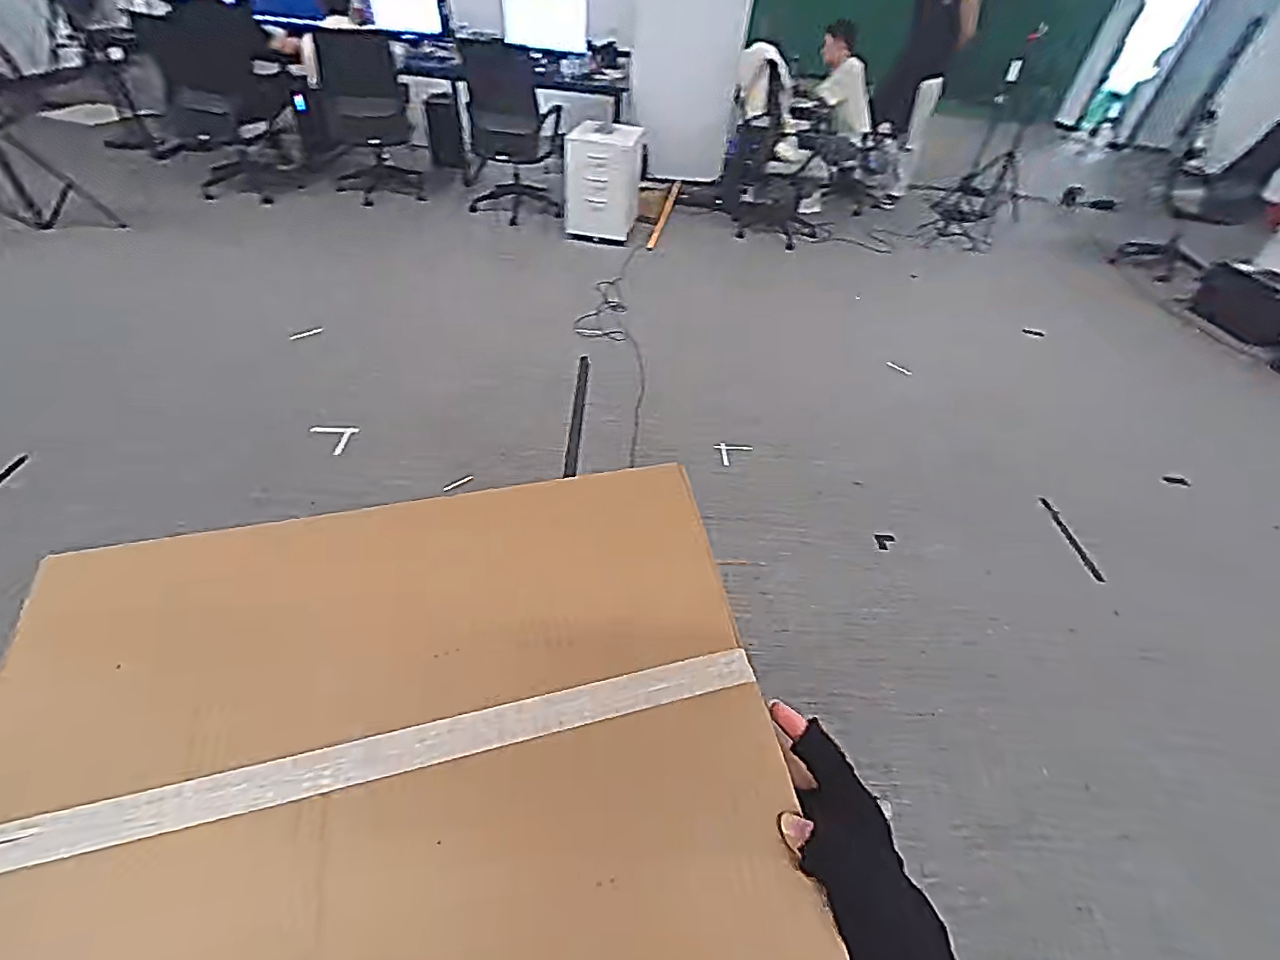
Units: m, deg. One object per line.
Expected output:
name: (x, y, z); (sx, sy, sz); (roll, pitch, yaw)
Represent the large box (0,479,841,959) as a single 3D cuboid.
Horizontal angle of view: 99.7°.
large box: (-0.135, 0.233, 0.429); (0.408, 0.320, 0.320); (-9, 59, -11)
